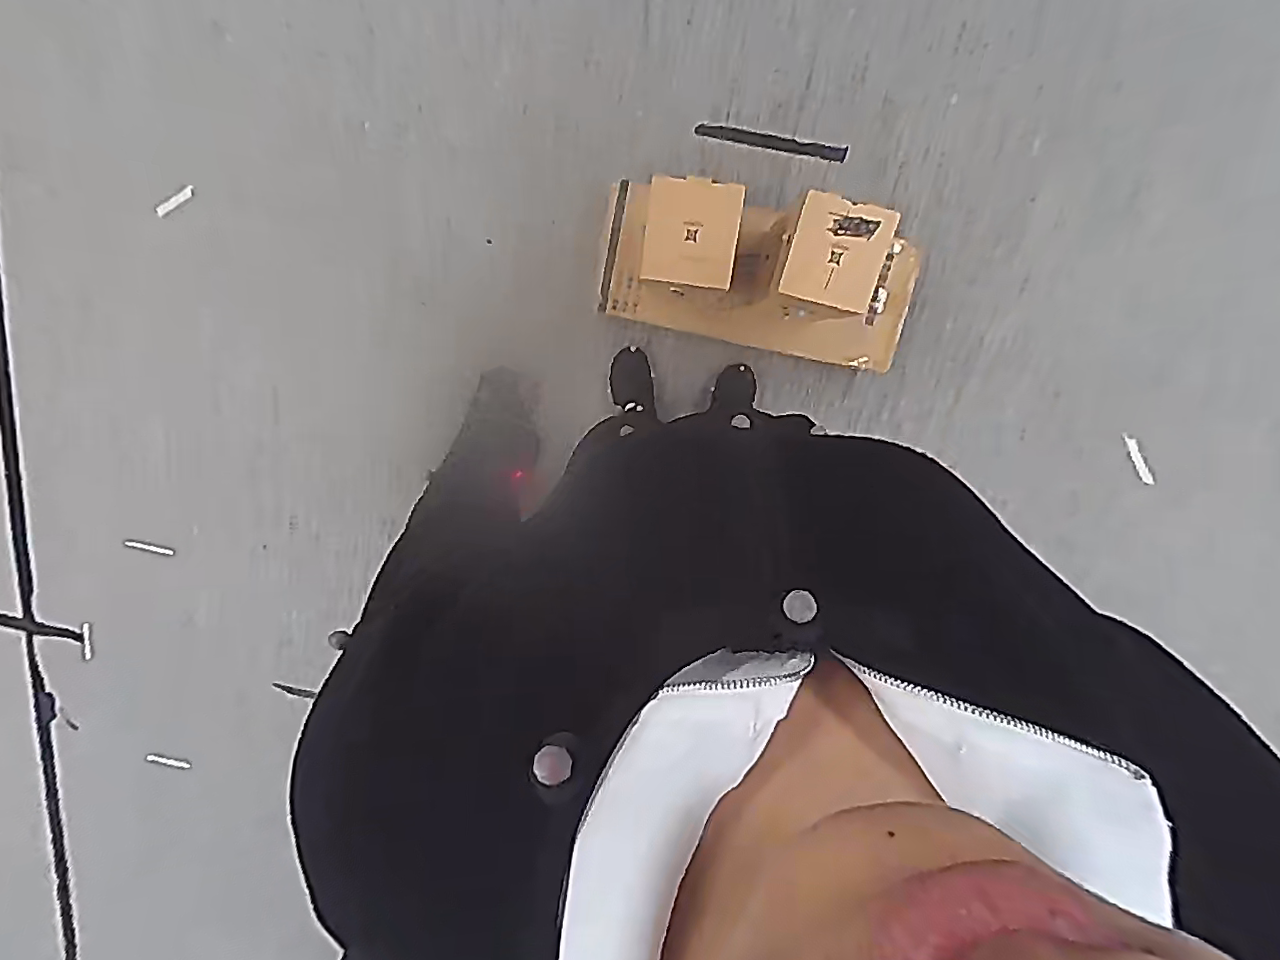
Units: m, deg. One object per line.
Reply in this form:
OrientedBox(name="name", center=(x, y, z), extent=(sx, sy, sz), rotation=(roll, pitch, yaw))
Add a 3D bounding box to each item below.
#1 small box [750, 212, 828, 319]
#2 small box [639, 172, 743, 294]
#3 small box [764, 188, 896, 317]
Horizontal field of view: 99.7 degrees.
OrientedBox(name="small box", center=(0.346, -0.460, 1.184), extent=(0.168, 0.176, 0.179), rotation=(11, 105, 1))
OrientedBox(name="small box", center=(0.093, -0.459, 1.029), extent=(0.168, 0.176, 0.179), rotation=(7, 105, 2))
OrientedBox(name="small box", center=(0.346, -0.419, 1.024), extent=(0.168, 0.176, 0.179), rotation=(15, 105, 0))
